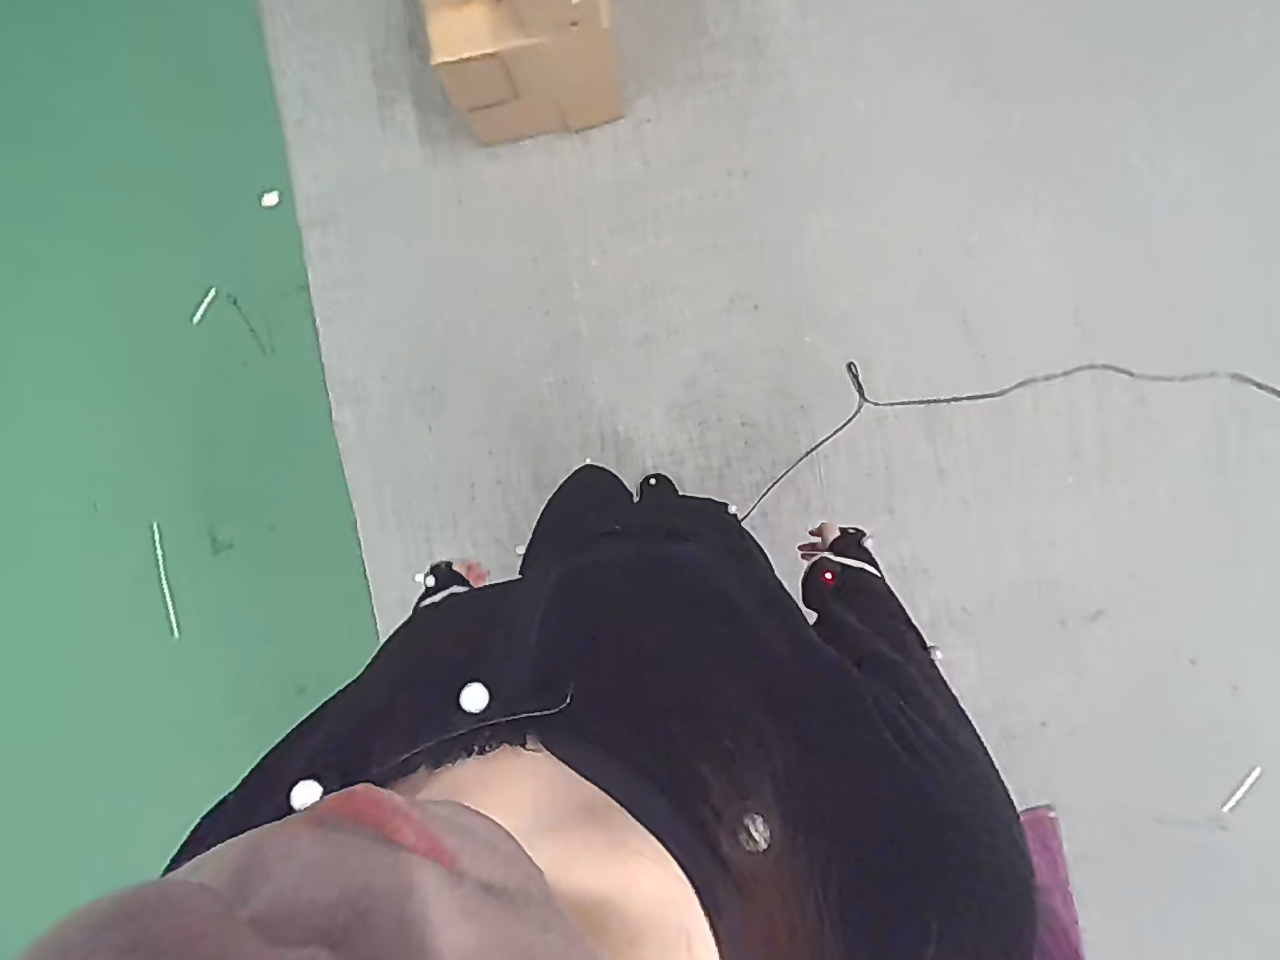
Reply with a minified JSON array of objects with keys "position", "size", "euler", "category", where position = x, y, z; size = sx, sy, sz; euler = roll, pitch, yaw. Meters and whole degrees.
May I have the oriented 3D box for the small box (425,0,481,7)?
[{"position":[-0.404,-1.124,1.096],"size":[0.168,0.176,0.179],"euler":[-4,90,7],"category":"small box"}]
